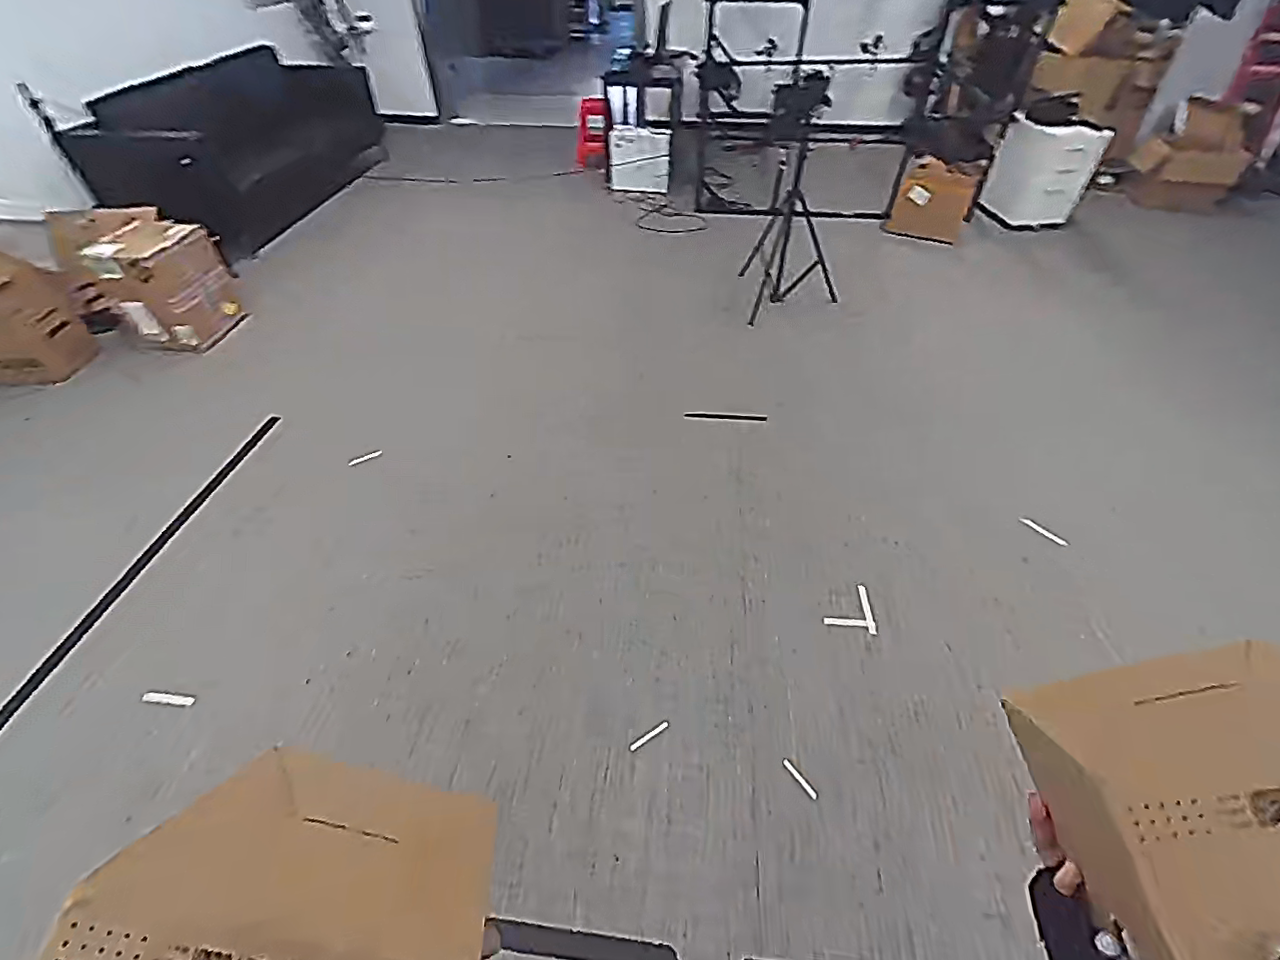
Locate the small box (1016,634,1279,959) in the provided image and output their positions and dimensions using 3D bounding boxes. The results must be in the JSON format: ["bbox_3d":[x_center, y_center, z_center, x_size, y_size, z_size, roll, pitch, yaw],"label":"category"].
[{"bbox_3d":[0.343,0.192,0.292,0.168,0.179,0.176,-19,76,17],"label":"small box"}]
